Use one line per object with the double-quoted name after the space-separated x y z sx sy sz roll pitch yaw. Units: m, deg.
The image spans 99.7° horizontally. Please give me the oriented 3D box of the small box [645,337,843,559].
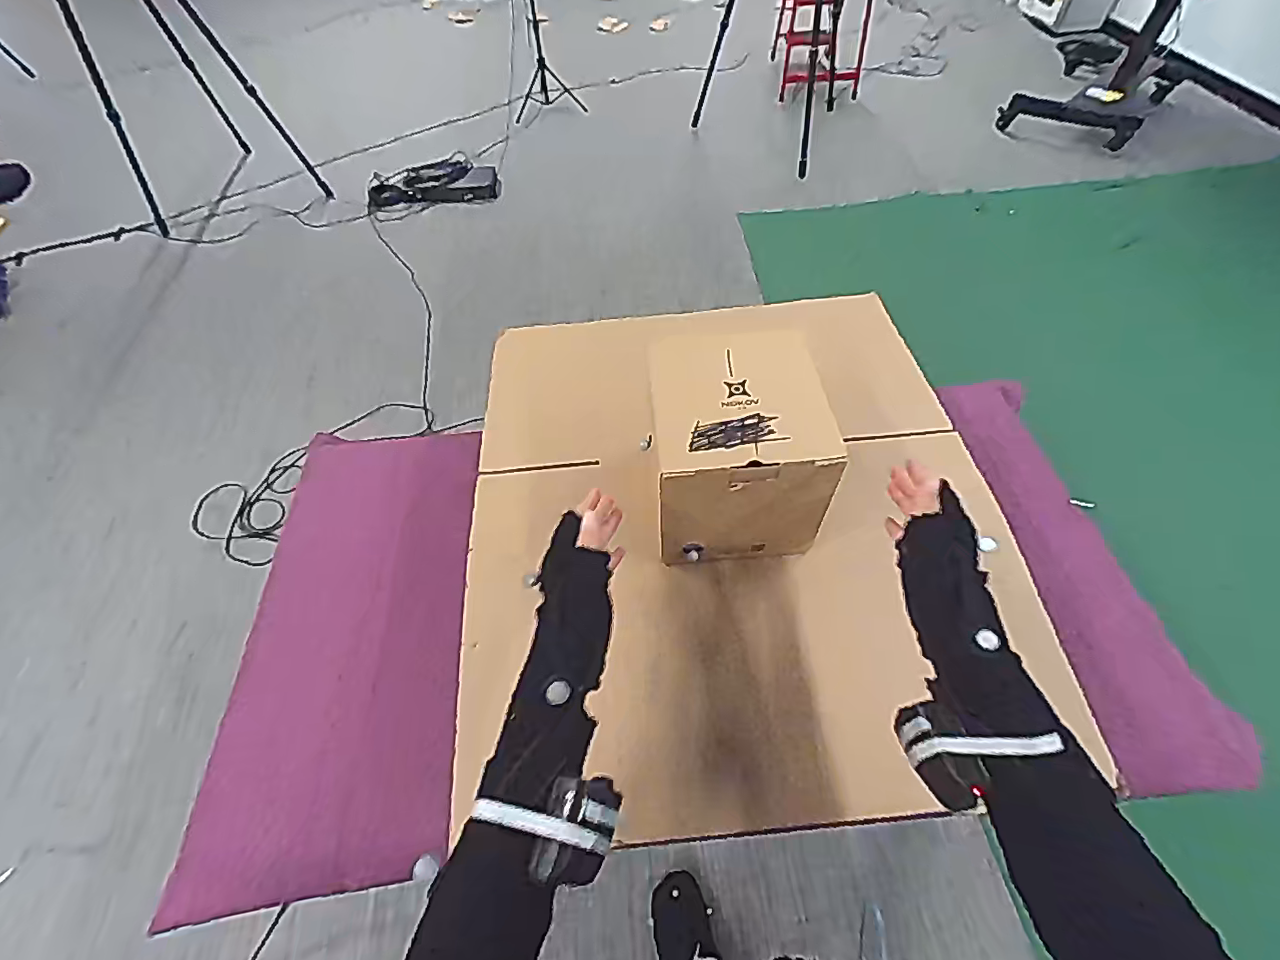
0.096 -0.026 0.580 0.168 0.176 0.179 -5 53 0 "small box"
